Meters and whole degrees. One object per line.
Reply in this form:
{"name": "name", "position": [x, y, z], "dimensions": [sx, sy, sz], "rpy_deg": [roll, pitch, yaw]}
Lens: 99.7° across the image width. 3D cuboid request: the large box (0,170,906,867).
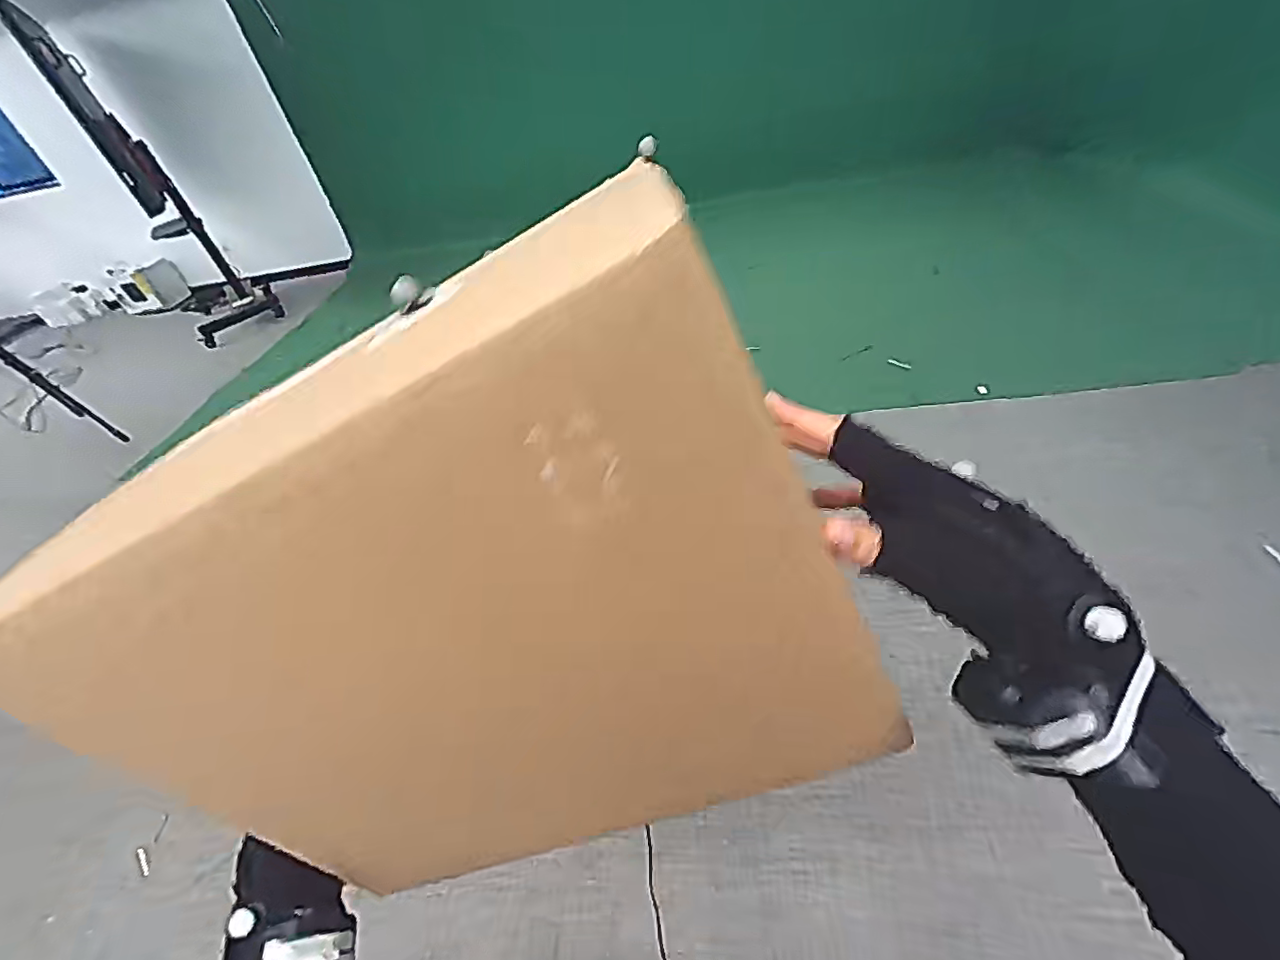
{"name": "large box", "position": [-0.084, 0.025, 0.419], "dimensions": [0.408, 0.320, 0.320], "rpy_deg": [-23, 31, 13]}
